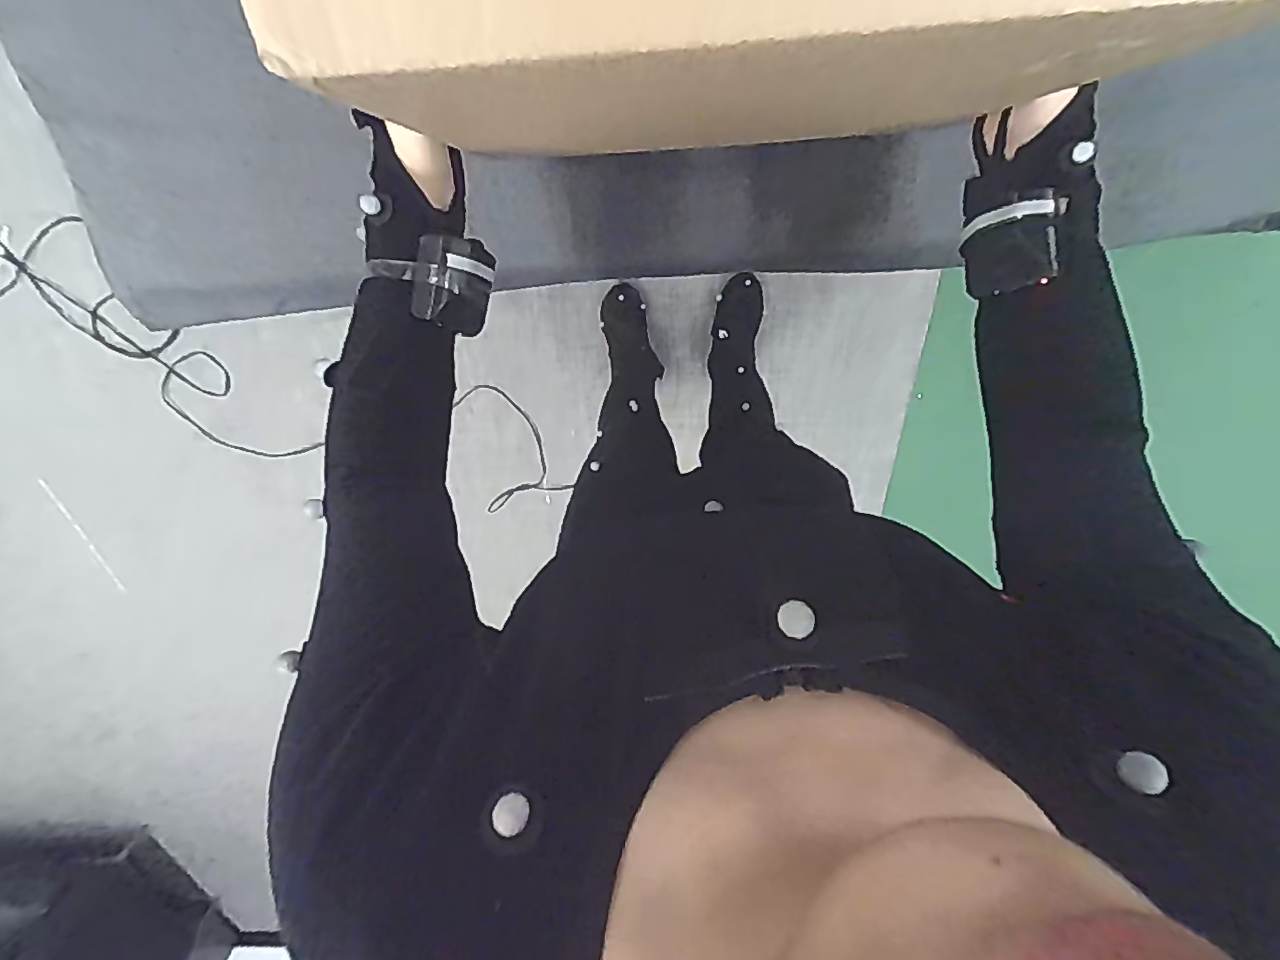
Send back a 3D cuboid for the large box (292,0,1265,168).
[{"bbox_3d":[0.051,-0.371,0.280,0.408,0.320,0.320,-4,116,1],"label":"large box"}]
